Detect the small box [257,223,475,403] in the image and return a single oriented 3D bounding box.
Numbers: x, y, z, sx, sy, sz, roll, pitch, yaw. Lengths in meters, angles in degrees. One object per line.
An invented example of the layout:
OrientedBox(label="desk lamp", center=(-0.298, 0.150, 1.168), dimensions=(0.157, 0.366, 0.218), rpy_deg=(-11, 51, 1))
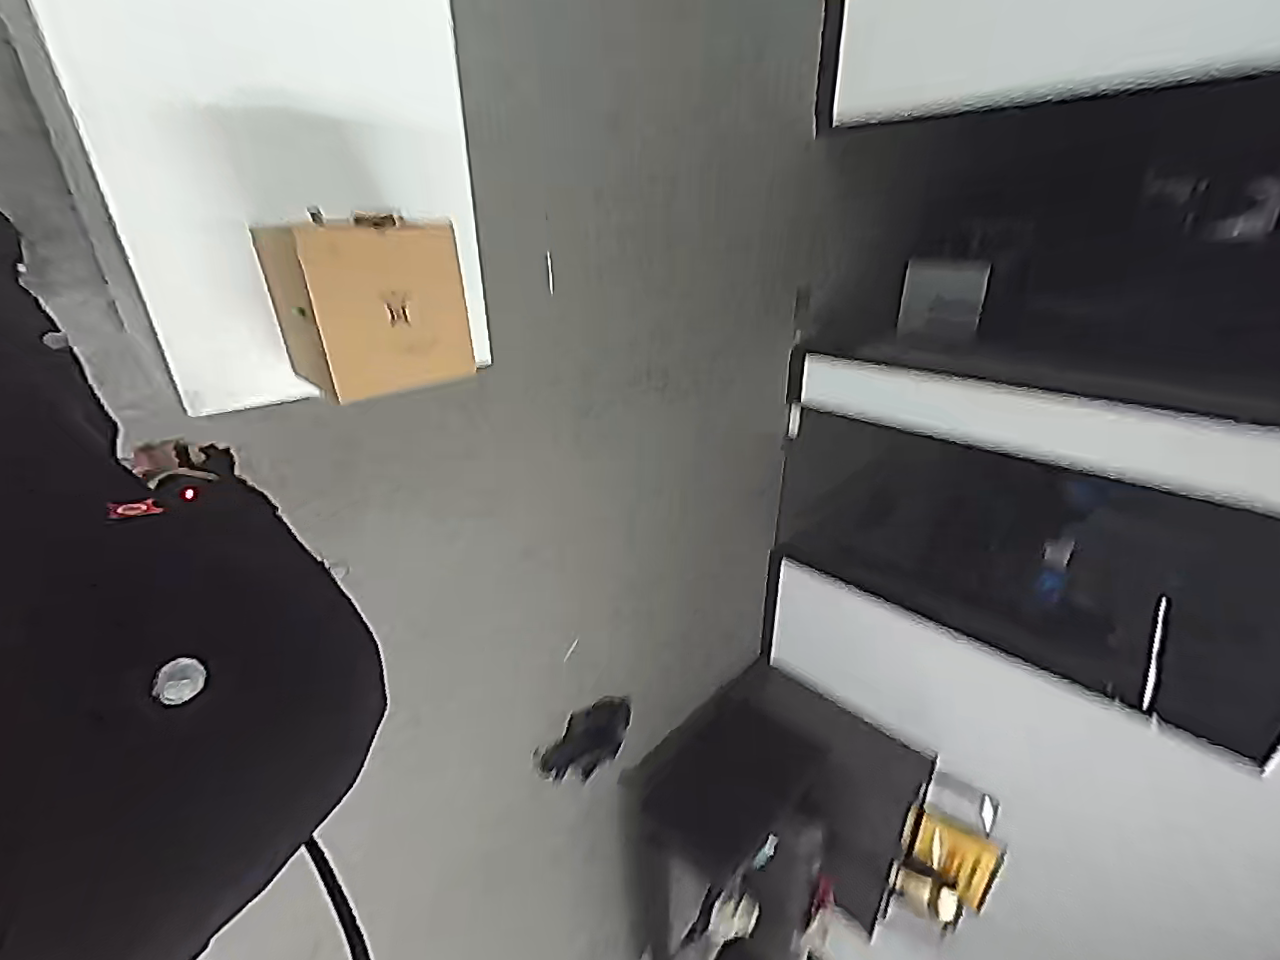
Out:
OrientedBox(label="small box", center=(-0.322, -0.207, 0.643), dimensions=(0.168, 0.176, 0.179), rpy_deg=(-24, 124, -39))
